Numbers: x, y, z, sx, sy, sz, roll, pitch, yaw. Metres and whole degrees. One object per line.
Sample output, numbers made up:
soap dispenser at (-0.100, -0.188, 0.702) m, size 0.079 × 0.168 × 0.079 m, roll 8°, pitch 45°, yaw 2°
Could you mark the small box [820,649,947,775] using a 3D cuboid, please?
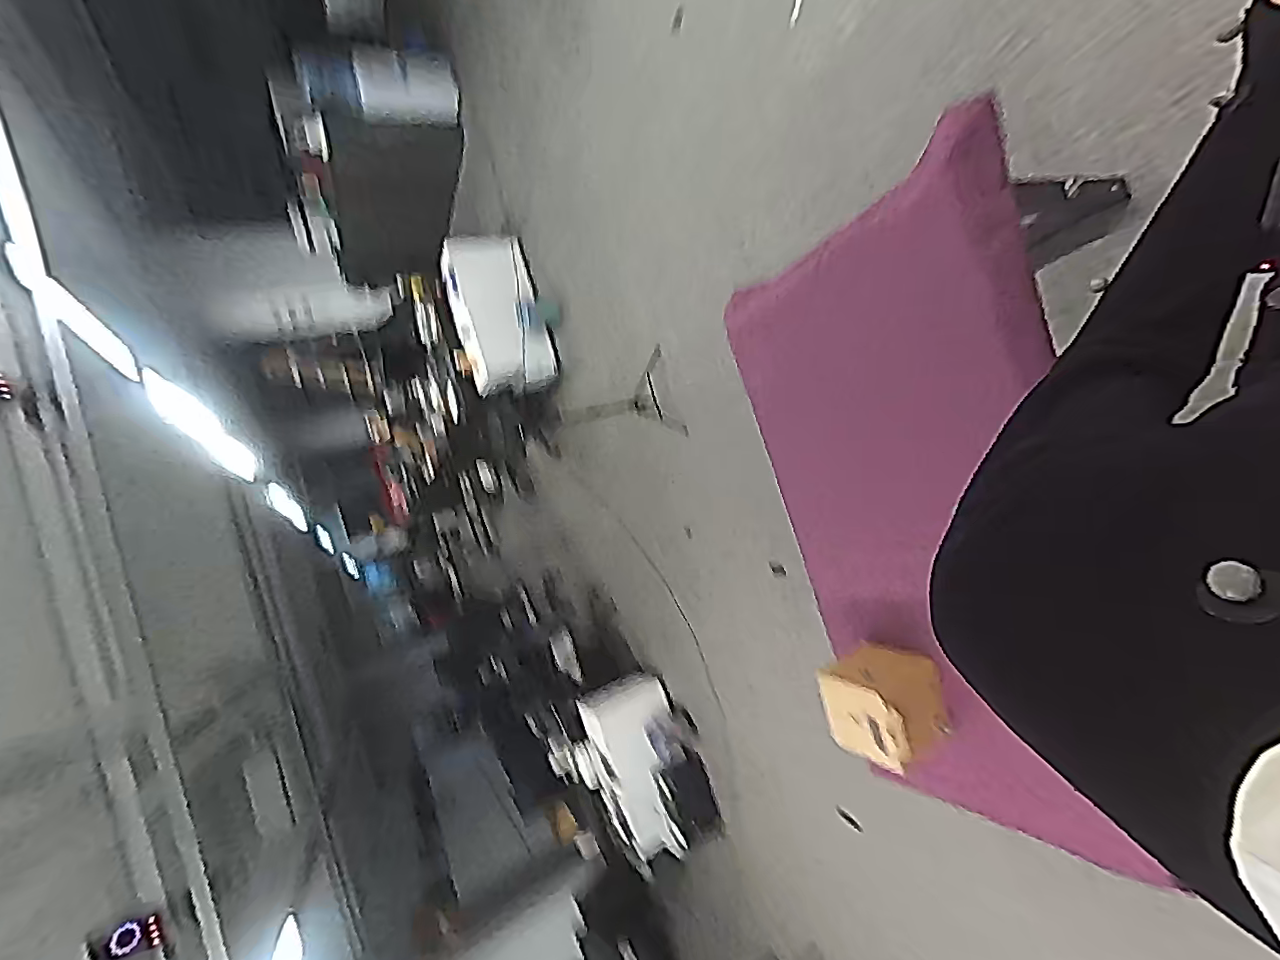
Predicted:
small box at (0.525, 0.482, 1.156) m, size 0.179 × 0.176 × 0.168 m, roll -10°, pitch 96°, yaw 63°
